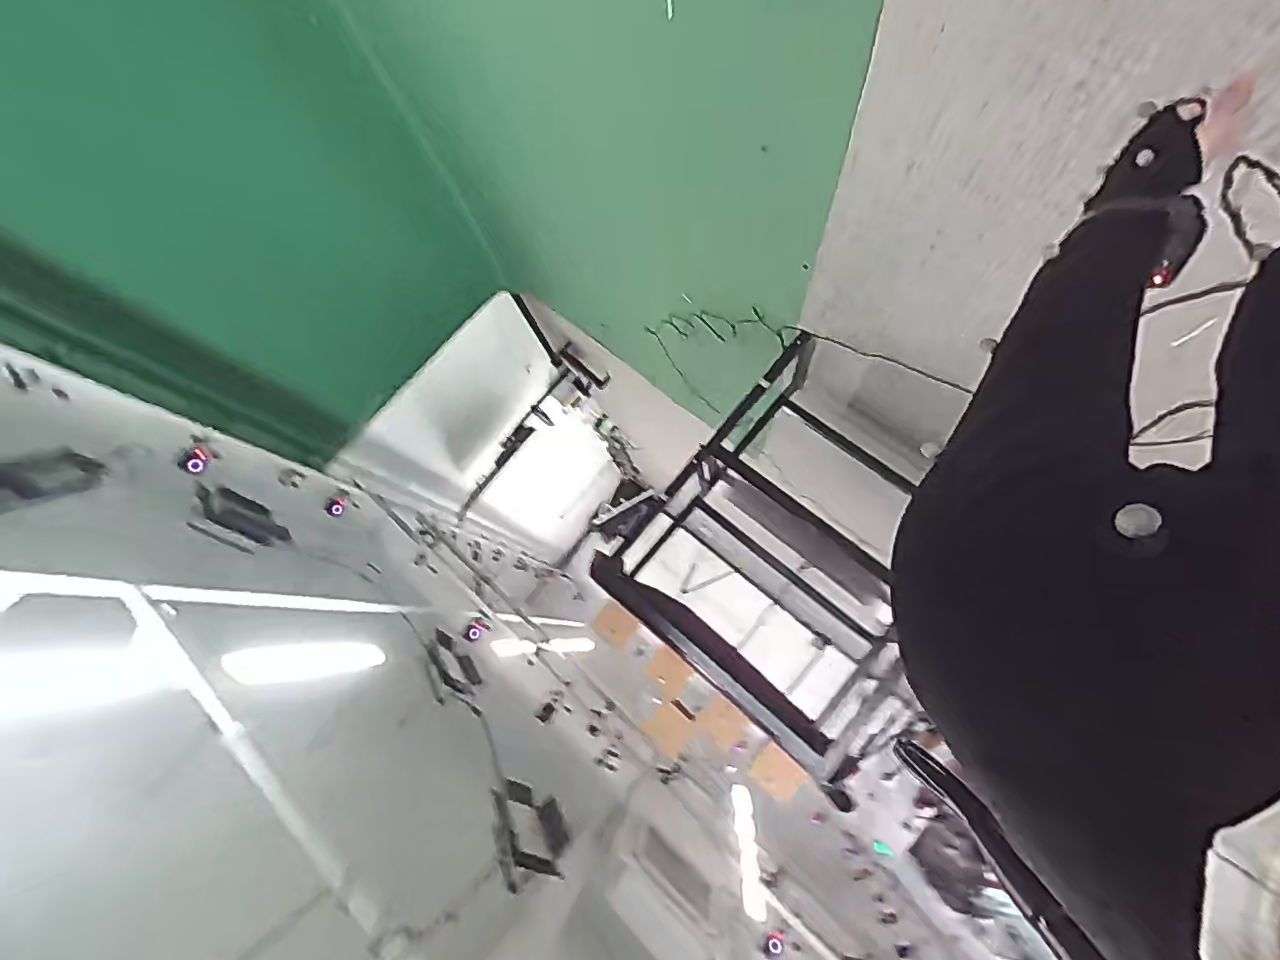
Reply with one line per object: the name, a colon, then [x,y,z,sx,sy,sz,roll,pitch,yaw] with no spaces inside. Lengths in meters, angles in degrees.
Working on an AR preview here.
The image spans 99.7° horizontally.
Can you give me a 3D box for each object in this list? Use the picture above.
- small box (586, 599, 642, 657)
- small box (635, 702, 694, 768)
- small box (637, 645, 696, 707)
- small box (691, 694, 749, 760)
small box: [-0.102,0.630,2.316,0.179,0.176,0.168,39,171,13]
small box: [0.110,1.015,2.184,0.179,0.176,0.168,41,174,19]
small box: [0.113,0.805,2.240,0.179,0.176,0.168,38,173,16]
small box: [0.320,0.978,2.158,0.168,0.176,0.179,40,173,18]
